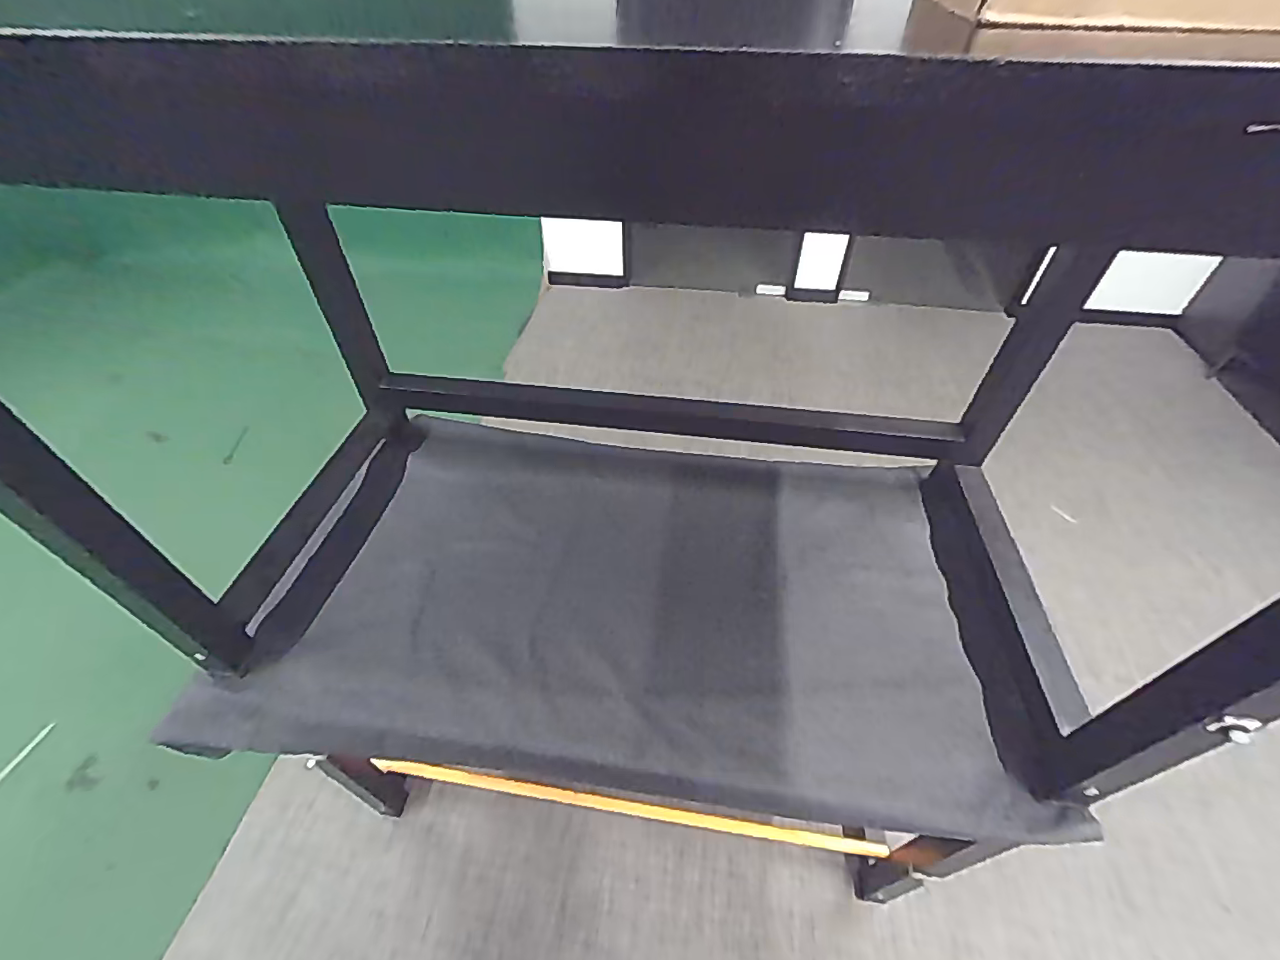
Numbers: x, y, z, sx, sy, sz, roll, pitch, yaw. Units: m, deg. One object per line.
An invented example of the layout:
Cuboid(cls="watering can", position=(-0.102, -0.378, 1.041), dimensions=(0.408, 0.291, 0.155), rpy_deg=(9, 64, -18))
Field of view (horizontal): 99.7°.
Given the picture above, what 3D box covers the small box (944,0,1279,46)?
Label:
Cuboid(cls="small box", position=(0.240, -0.304, 0.226), dimensions=(0.168, 0.176, 0.179), rpy_deg=(9, 47, 9))
